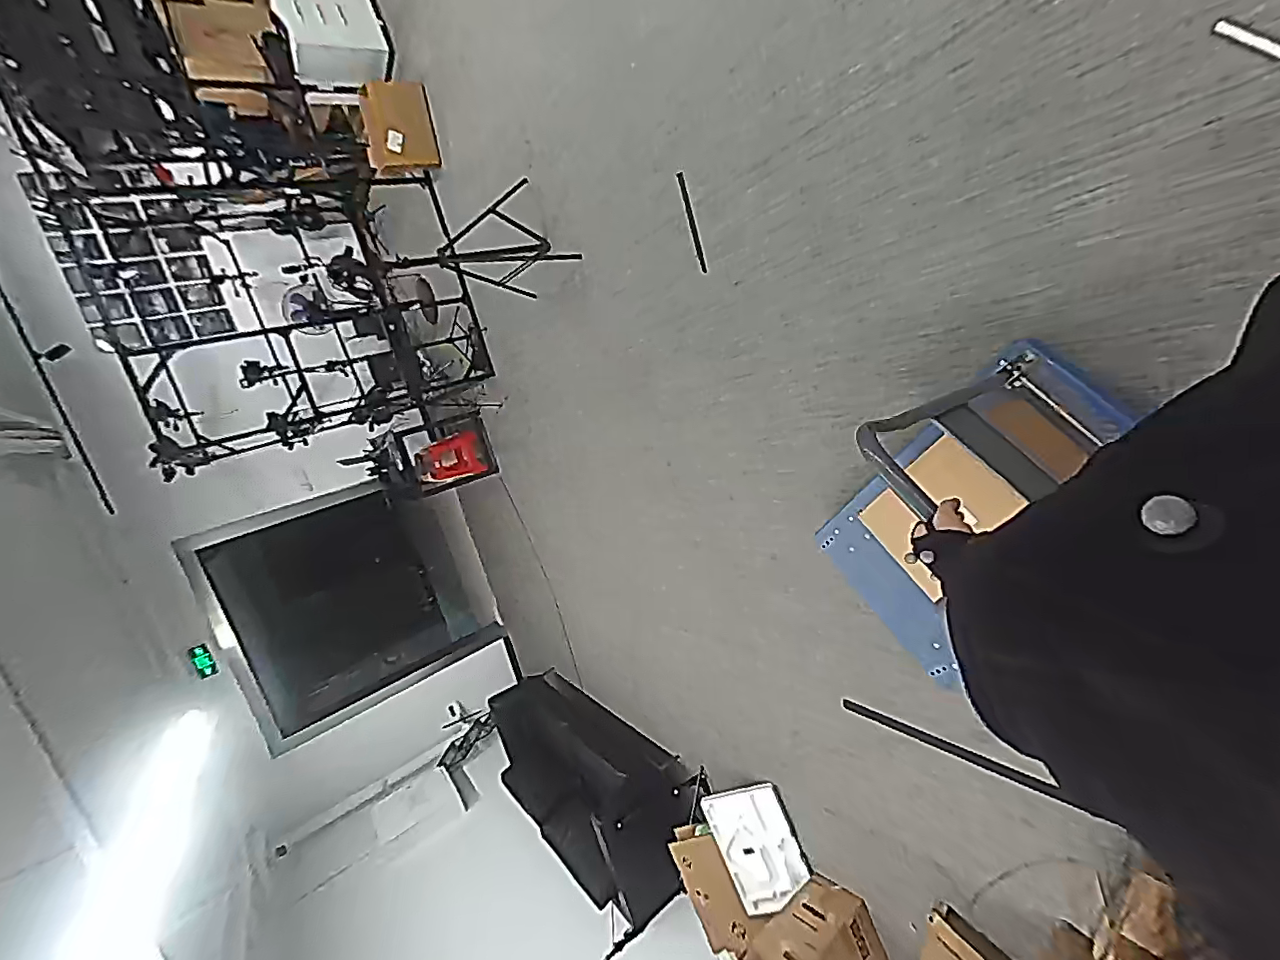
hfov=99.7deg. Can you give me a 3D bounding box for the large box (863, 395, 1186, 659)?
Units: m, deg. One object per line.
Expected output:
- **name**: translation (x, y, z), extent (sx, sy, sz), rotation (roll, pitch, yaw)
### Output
- **large box**: translation (0.786, 0.090, 1.148), extent (0.408, 0.320, 0.320), rotation (54, 146, 23)
